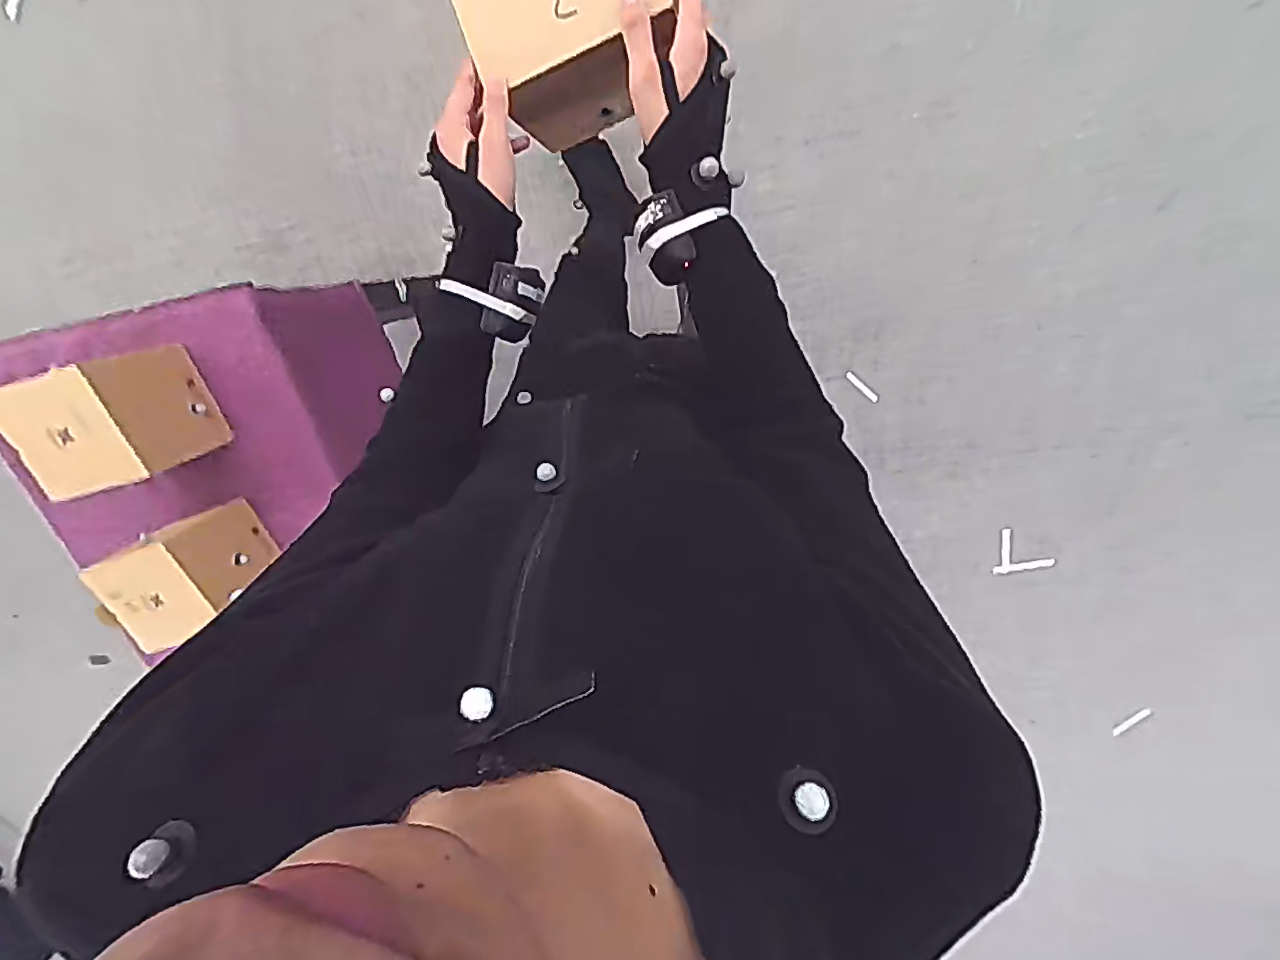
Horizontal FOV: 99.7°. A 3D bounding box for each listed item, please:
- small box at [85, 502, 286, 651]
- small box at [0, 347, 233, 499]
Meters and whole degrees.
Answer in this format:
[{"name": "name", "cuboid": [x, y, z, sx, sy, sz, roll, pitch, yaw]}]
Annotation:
[{"name": "small box", "cuboid": [-0.755, 0.158, 0.928, 0.179, 0.176, 0.168, -18, 110, 12]}, {"name": "small box", "cuboid": [-0.787, -0.092, 0.824, 0.179, 0.176, 0.168, -12, 113, 10]}]
